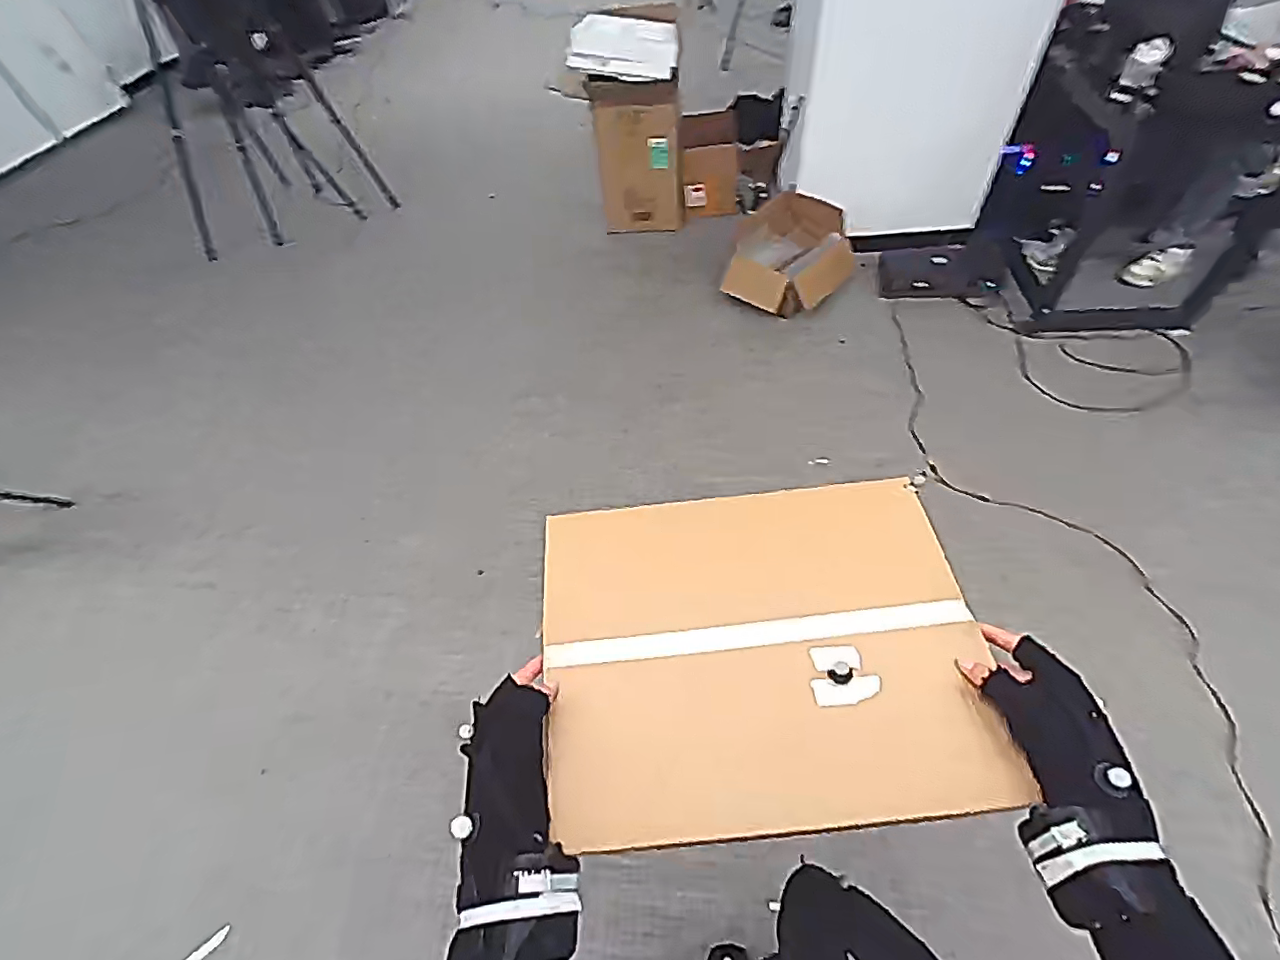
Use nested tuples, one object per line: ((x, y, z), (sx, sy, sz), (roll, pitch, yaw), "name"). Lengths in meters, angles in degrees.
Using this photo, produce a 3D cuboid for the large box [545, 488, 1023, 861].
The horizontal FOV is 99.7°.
((0.114, 0.244, 0.648), (0.408, 0.320, 0.320), (-7, 55, 0), "large box")
